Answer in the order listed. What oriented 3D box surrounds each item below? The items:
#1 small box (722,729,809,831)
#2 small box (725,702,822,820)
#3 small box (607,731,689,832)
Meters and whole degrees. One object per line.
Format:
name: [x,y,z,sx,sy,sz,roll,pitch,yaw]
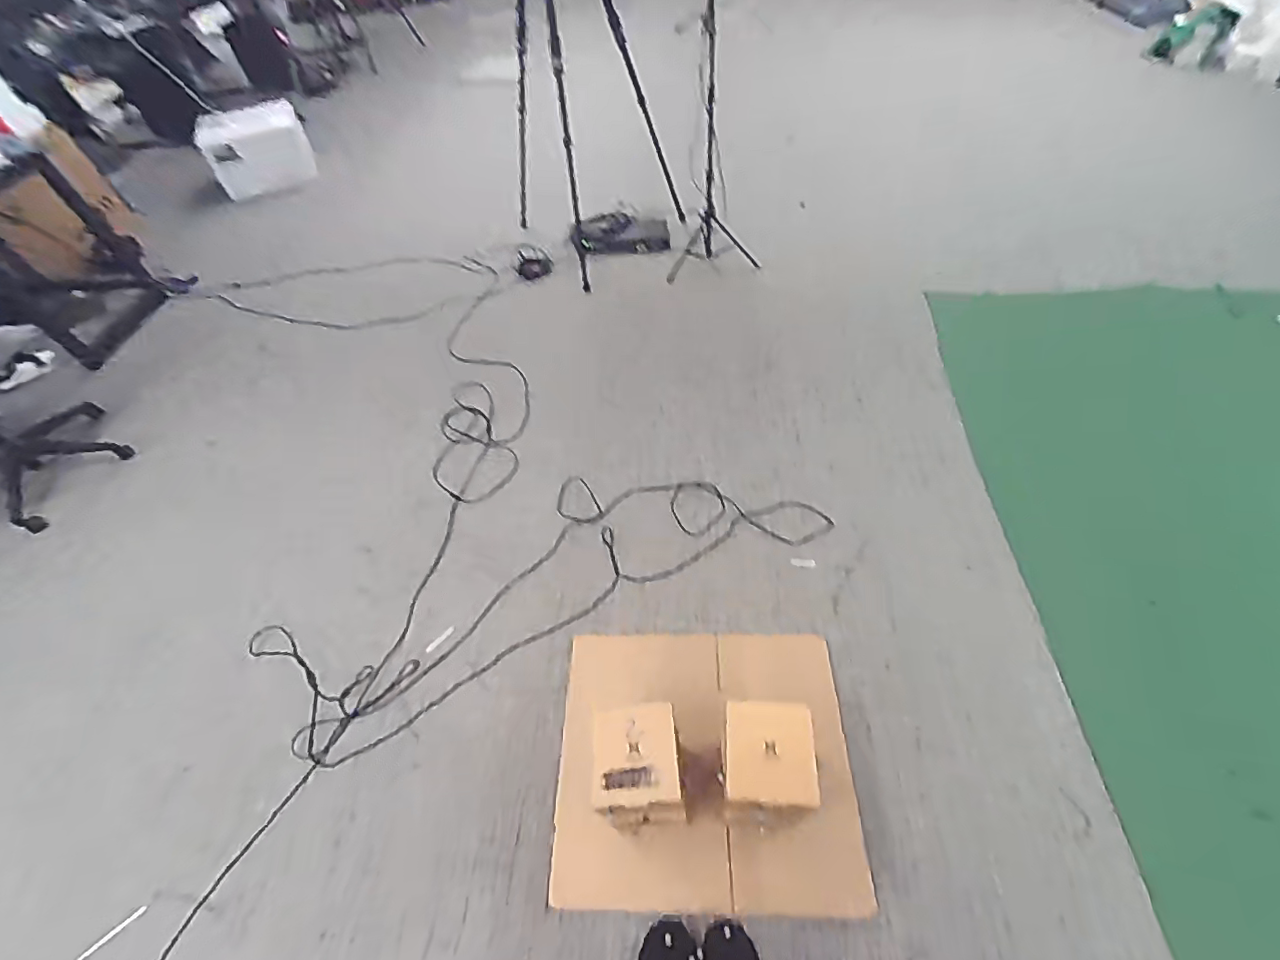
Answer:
small box: [0.269,0.667,1.202,0.168,0.176,0.179,-3,52,6]
small box: [0.256,0.561,1.078,0.168,0.176,0.179,0,53,7]
small box: [0.019,0.682,1.215,0.168,0.176,0.179,-5,51,3]
